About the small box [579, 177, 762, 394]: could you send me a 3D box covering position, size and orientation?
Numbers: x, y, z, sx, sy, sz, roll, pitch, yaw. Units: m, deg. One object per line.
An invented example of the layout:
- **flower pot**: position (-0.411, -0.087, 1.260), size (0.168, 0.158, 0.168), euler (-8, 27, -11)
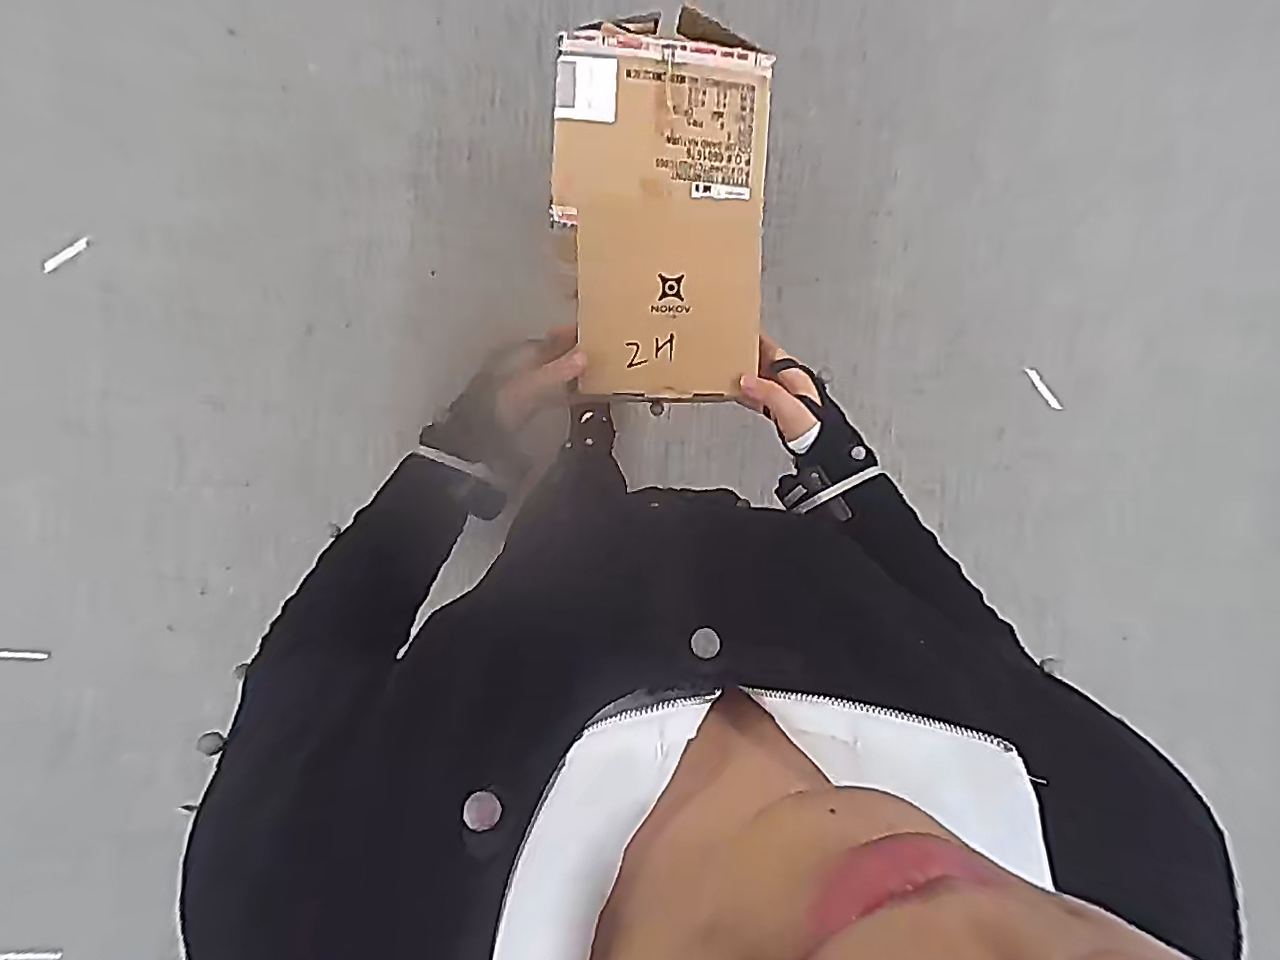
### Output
- **small box**: position (0.021, -0.185, 0.565), size (0.168, 0.176, 0.179), euler (0, 96, -4)
